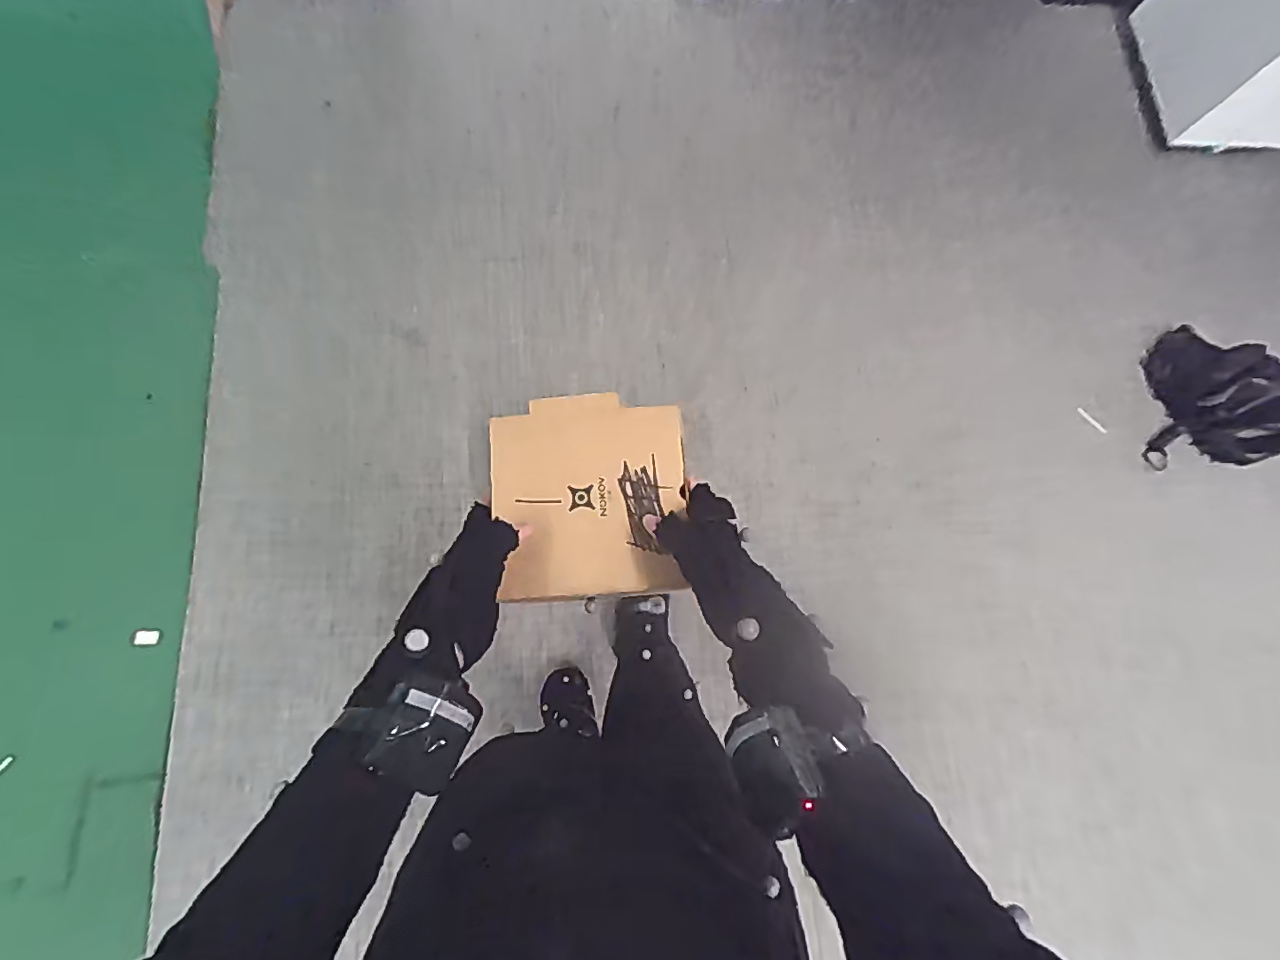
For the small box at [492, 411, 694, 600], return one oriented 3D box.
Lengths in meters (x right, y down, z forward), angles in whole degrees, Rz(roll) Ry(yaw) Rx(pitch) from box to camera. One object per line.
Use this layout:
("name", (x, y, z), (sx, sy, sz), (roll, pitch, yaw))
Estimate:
("small box", (-0.047, 0.035, 0.561), (0.179, 0.176, 0.168), (-1, 75, -3))
